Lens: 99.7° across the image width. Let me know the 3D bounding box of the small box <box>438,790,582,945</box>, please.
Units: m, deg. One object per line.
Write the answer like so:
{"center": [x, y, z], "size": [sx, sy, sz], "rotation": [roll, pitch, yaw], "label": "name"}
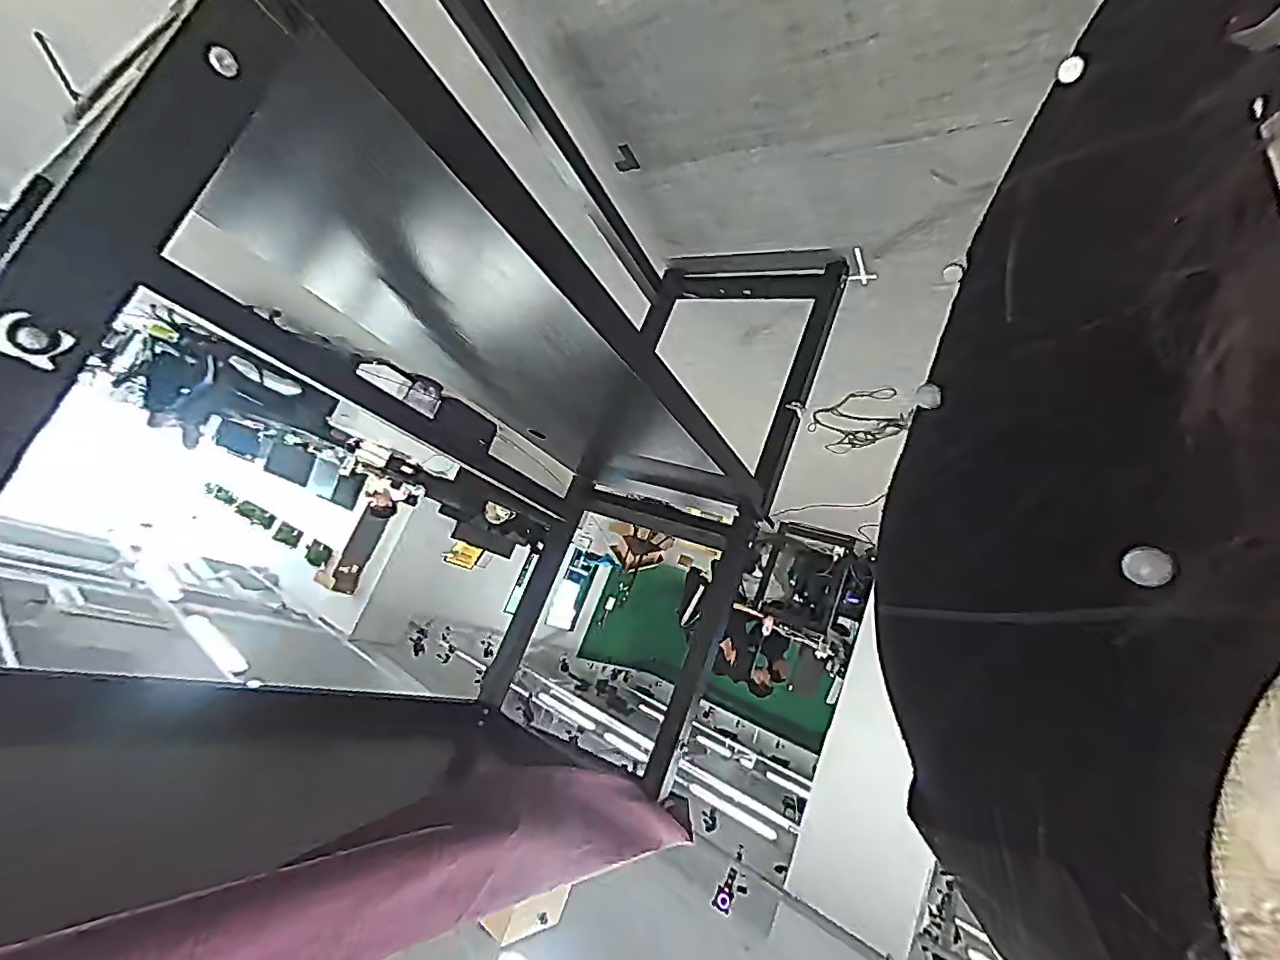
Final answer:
{"center": [-0.243, 0.724, 1.039], "size": [0.179, 0.176, 0.168], "rotation": [14, 166, 36], "label": "small box"}
